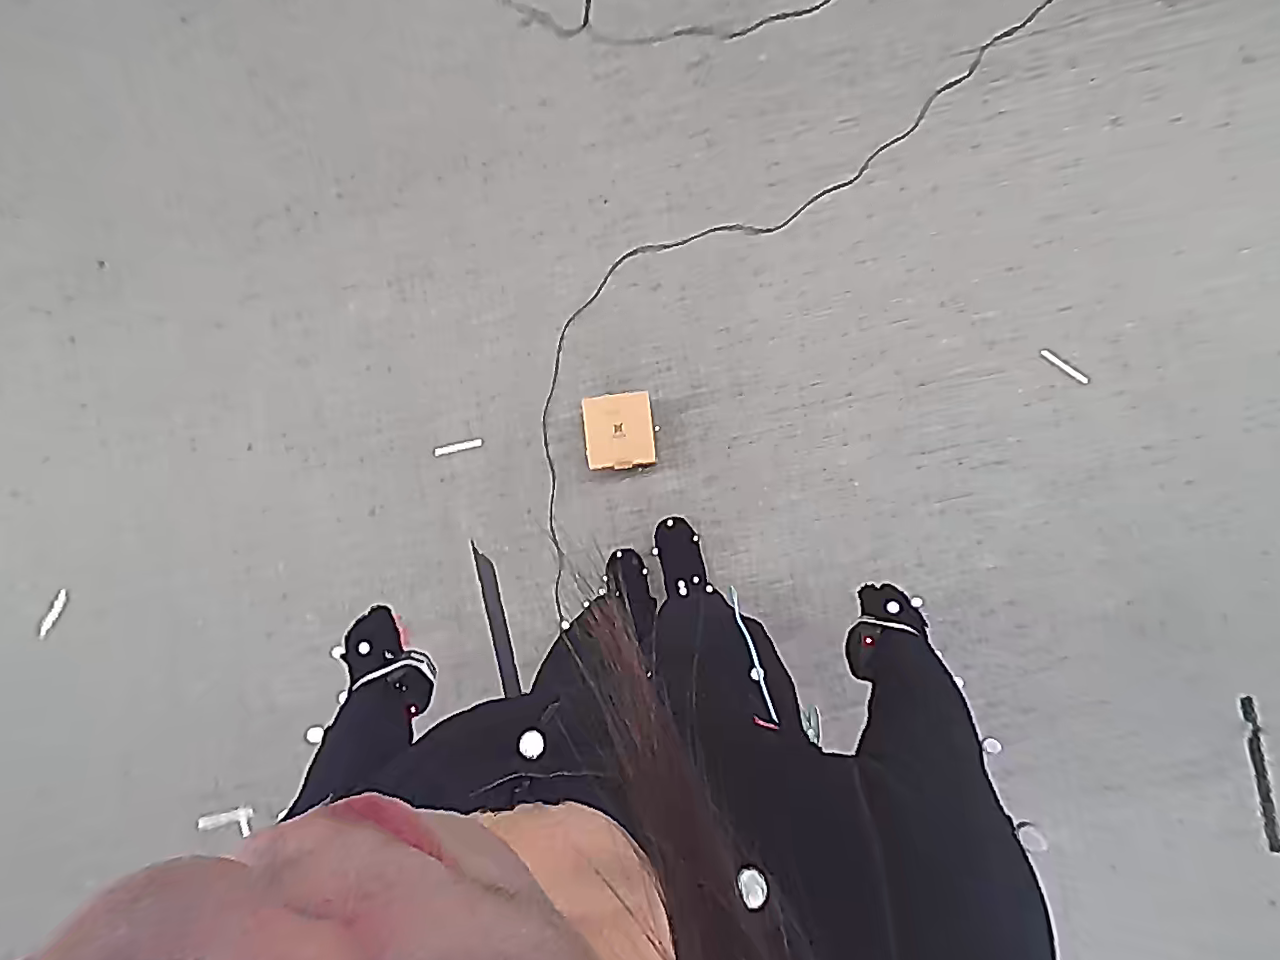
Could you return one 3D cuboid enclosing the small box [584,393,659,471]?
[{"bbox_3d":[-0.043,-0.119,1.390,0.168,0.176,0.179,-6,90,3],"label":"small box"}]
